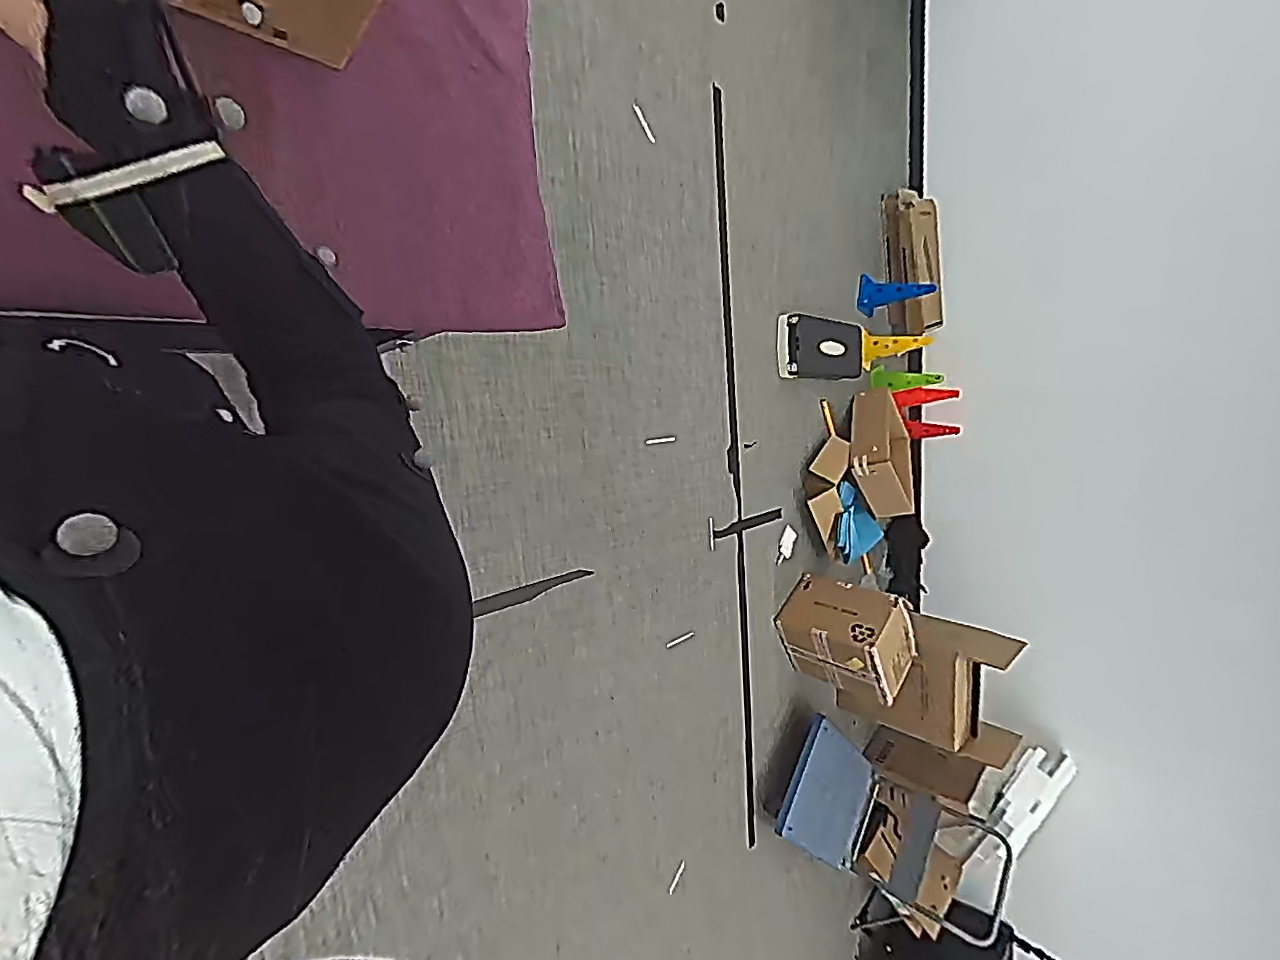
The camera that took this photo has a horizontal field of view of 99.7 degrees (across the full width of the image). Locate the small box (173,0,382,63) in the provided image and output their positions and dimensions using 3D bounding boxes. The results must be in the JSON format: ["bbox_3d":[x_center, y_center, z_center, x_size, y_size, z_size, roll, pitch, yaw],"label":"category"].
[{"bbox_3d":[-0.329,-0.520,0.464,0.168,0.176,0.179,-6,99,-44],"label":"small box"}]
